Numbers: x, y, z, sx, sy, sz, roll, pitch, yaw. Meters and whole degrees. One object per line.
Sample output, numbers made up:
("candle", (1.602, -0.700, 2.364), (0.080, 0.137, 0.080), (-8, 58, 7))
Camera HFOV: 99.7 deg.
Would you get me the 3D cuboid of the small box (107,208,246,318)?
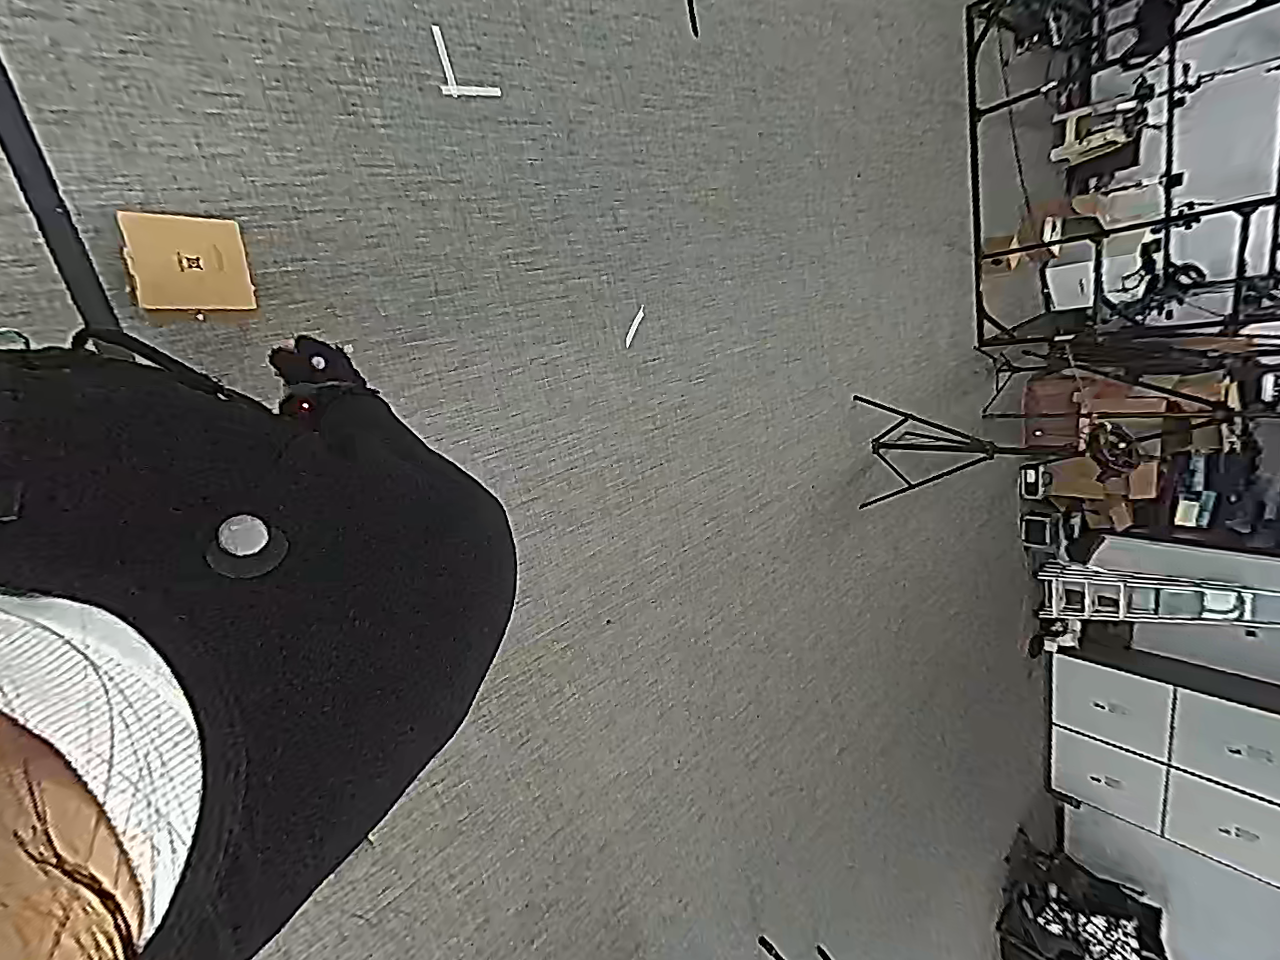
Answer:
("small box", (-0.901, -0.415, 1.063), (0.179, 0.176, 0.168), (-14, 104, -39))
